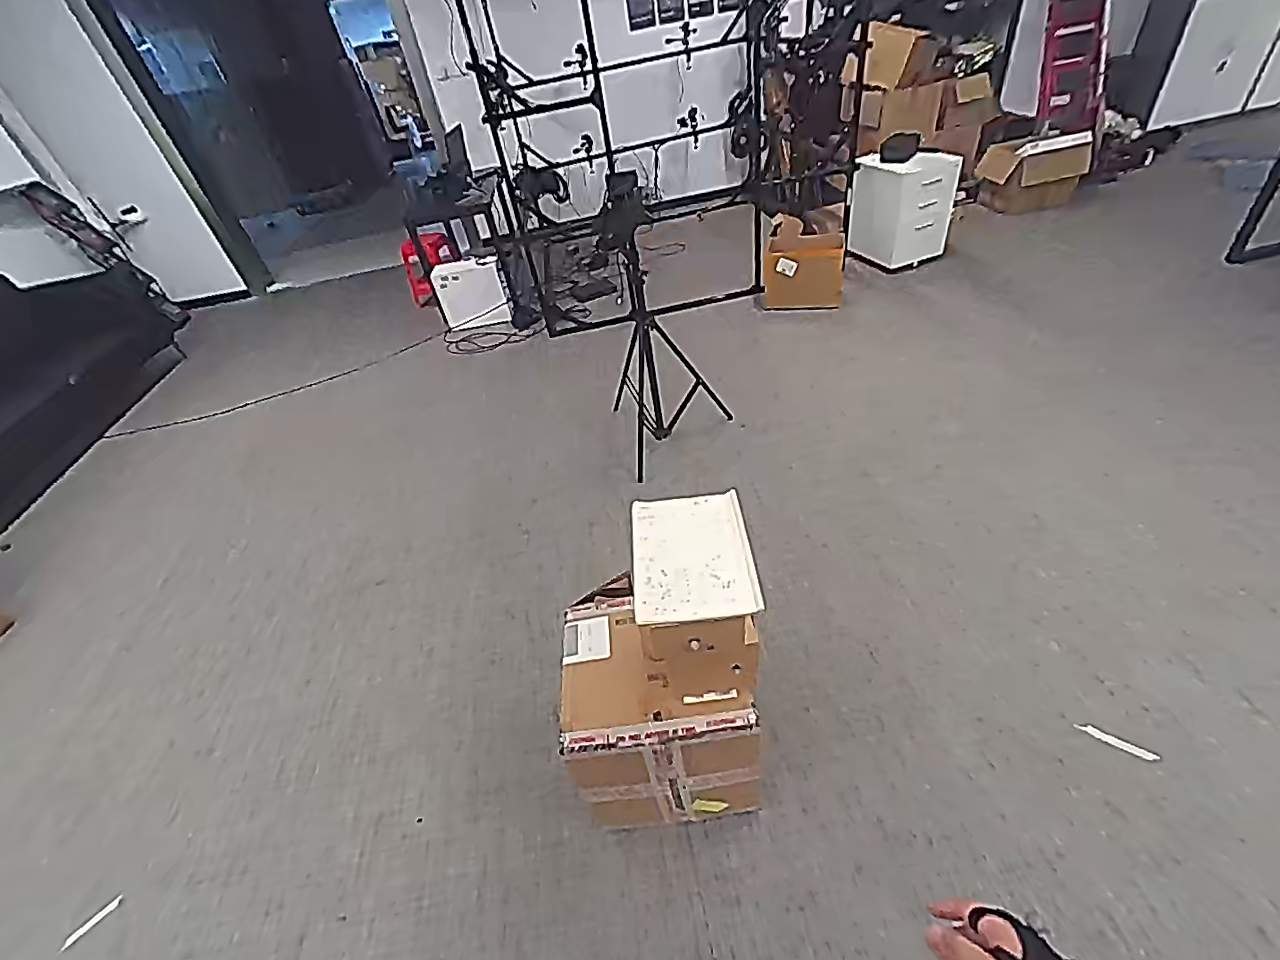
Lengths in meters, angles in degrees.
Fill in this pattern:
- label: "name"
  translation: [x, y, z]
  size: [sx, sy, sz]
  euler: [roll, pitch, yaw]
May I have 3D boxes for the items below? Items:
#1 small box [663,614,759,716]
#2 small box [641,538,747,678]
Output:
- label: "small box"
  translation: [0.127, 0.344, 1.071]
  size: [0.179, 0.176, 0.168]
  euler: [-9, 41, 0]
- label: "small box"
  translation: [0.090, 0.226, 0.960]
  size: [0.168, 0.176, 0.179]
  euler: [-6, 43, 2]
